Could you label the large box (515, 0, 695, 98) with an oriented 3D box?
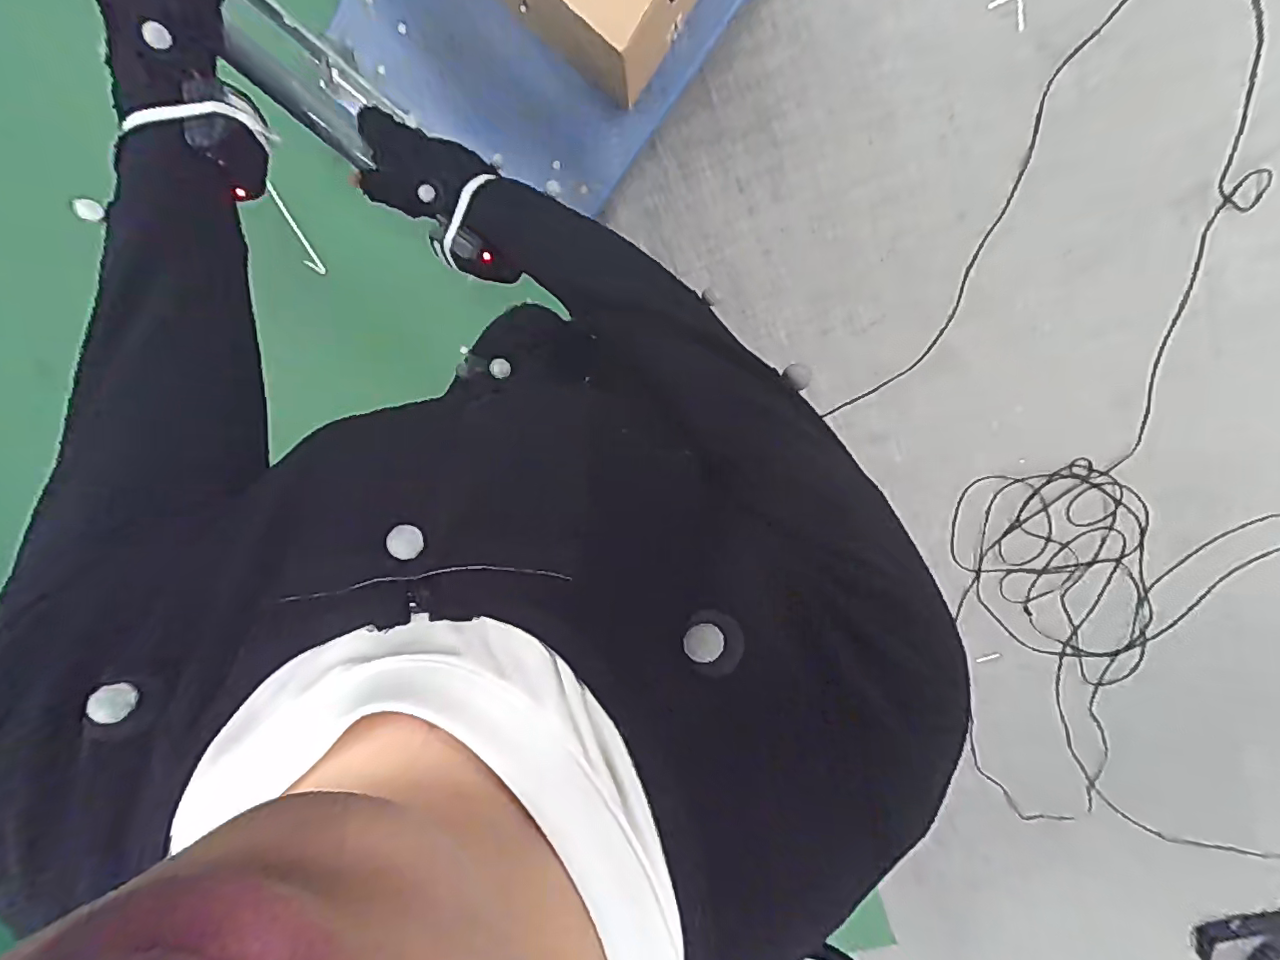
[{"bbox_3d":[-0.085,-0.898,0.826,0.408,0.320,0.320,35,108,-12],"label":"large box"}]
